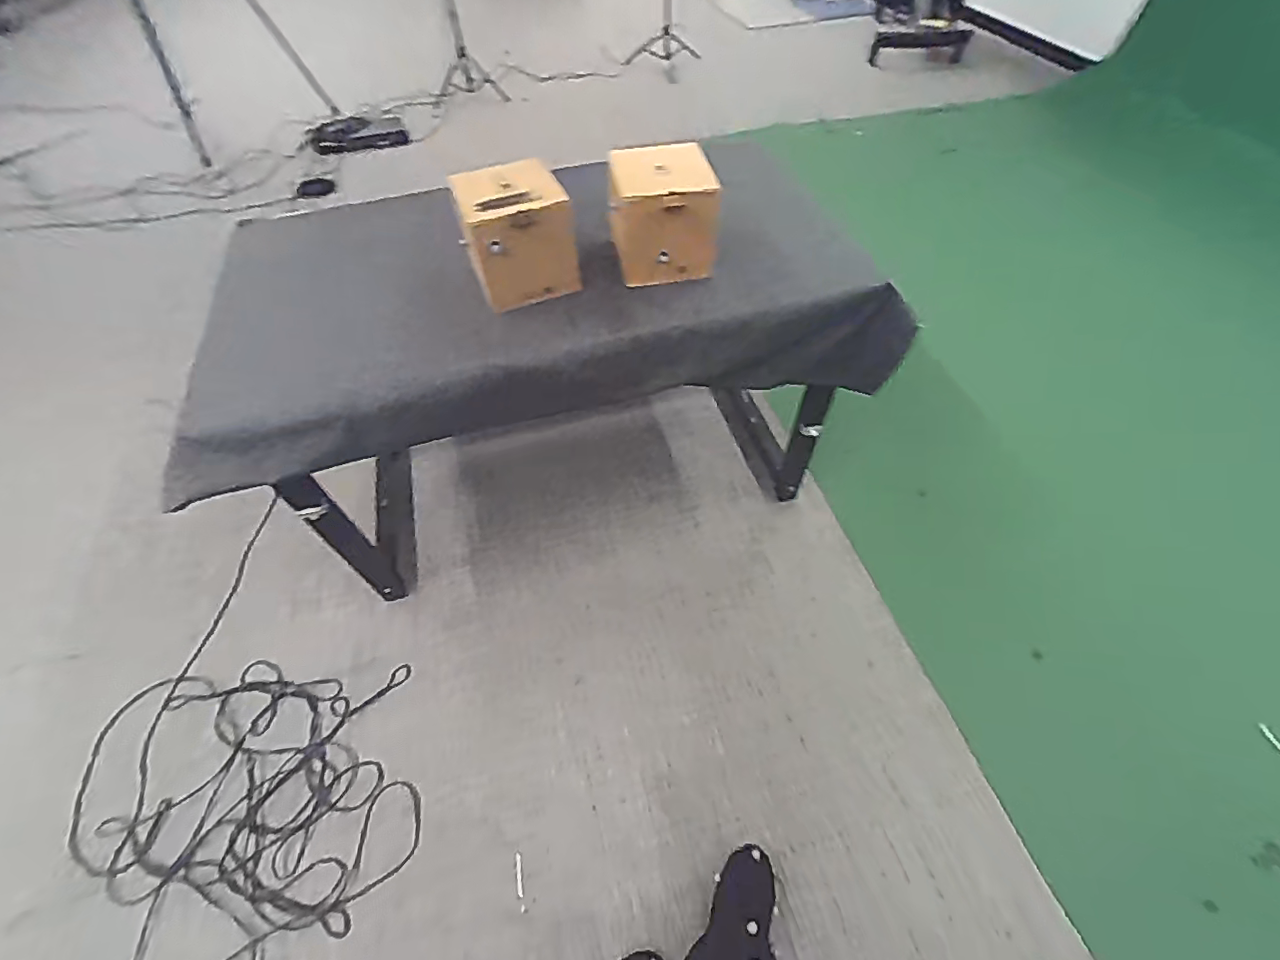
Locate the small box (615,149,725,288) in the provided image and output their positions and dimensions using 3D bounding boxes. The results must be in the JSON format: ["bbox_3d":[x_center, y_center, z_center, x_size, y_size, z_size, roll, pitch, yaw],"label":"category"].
[{"bbox_3d":[0.047,-0.481,0.997,0.168,0.176,0.179,-9,54,-5],"label":"small box"}]
